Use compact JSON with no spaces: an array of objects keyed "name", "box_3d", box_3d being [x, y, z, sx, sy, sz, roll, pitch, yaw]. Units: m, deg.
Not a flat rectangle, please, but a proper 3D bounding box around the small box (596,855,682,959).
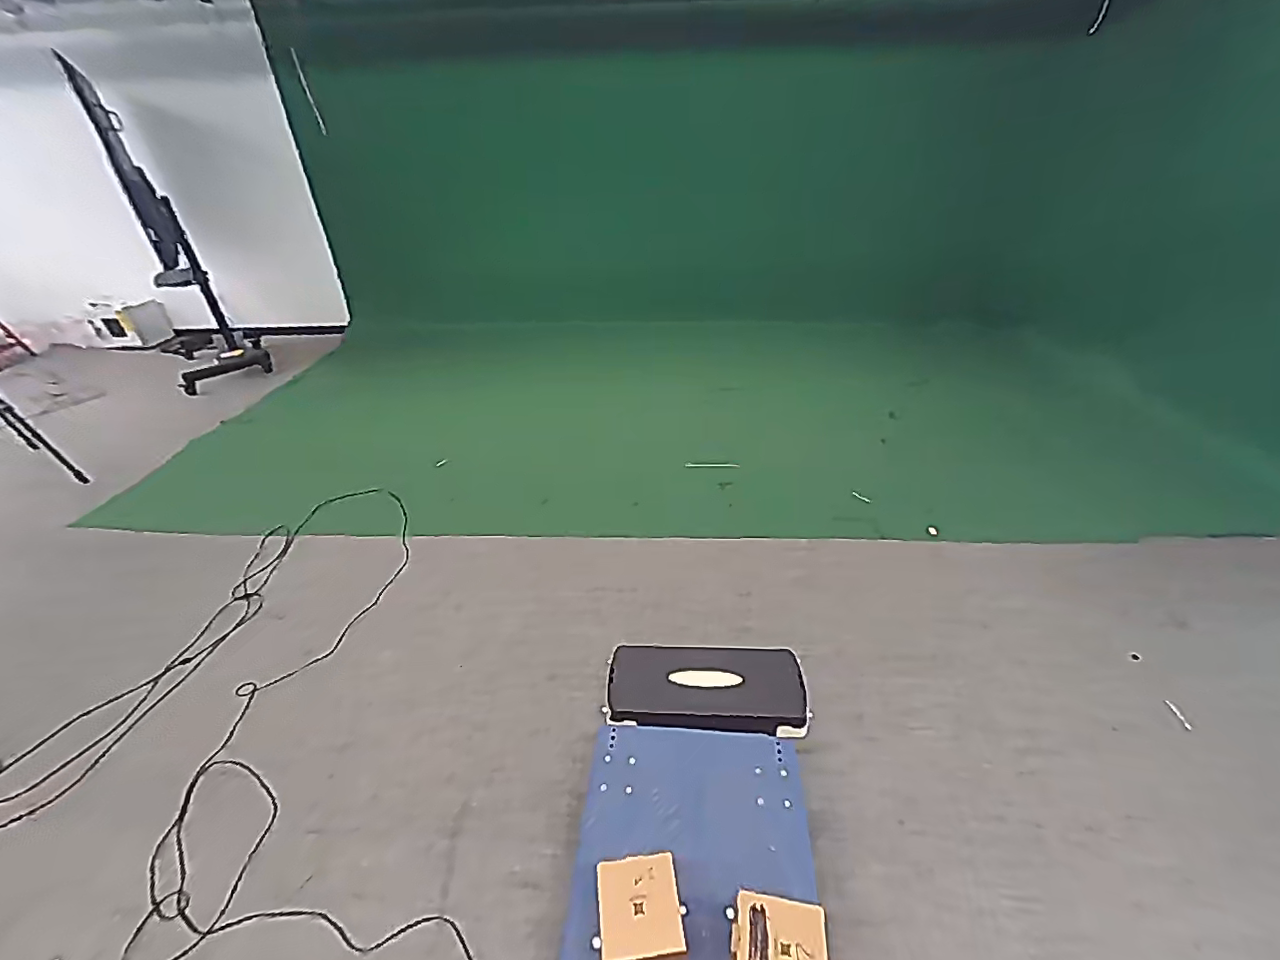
[{"name":"small box","box_3d":[-0.005,0.940,1.148,0.168,0.176,0.179,-4,34,-6]}]
